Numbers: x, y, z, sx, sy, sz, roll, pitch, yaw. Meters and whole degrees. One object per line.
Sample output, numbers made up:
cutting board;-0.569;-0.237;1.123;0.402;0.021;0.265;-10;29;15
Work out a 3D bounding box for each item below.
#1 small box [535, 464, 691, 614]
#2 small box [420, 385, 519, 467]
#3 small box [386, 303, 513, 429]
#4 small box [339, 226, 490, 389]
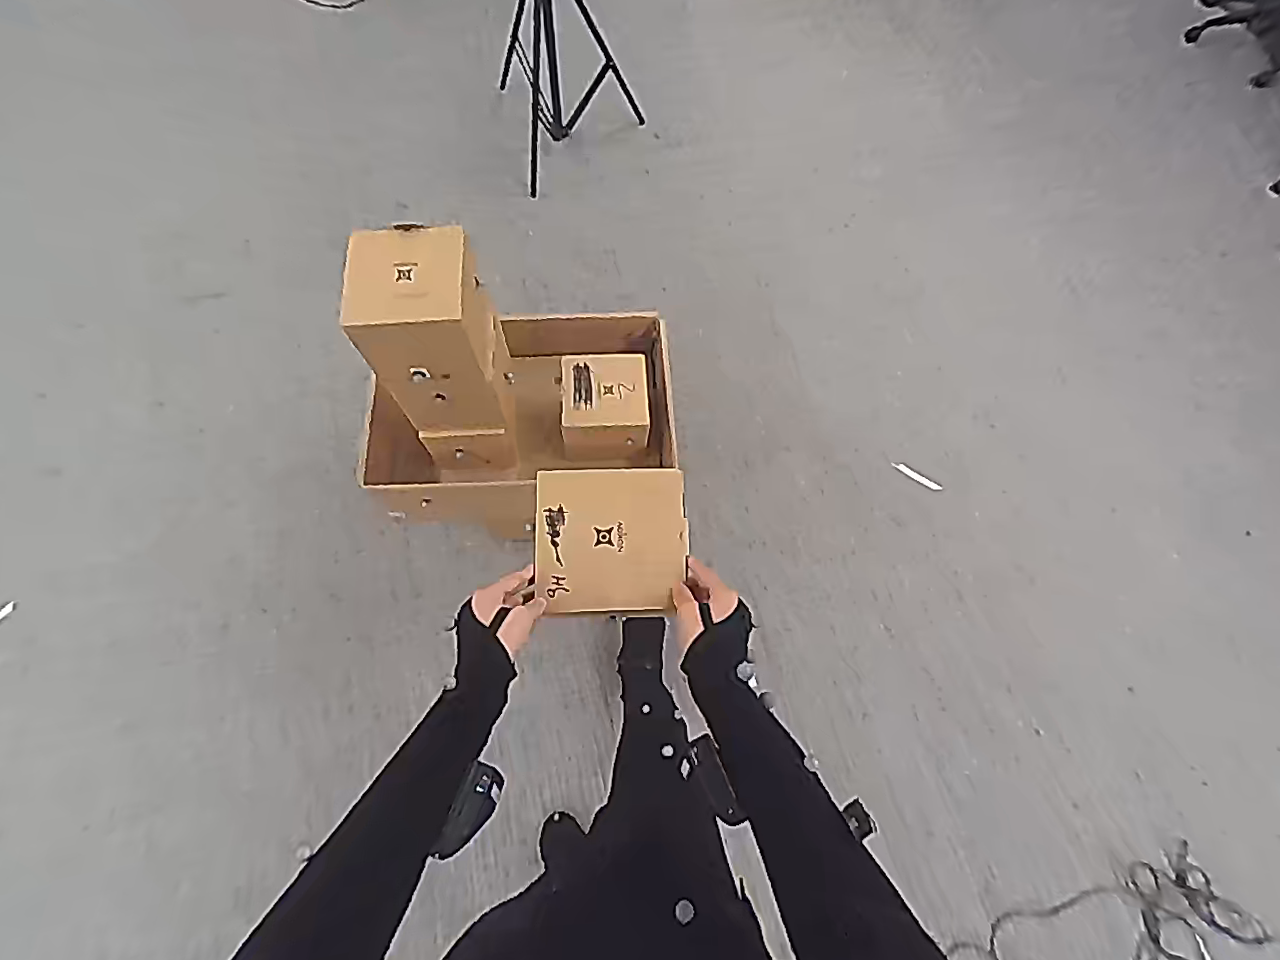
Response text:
small box;-0.037;0.083;0.694;0.179;0.176;0.168;0;73;-5
small box;-0.349;-0.134;1.137;0.168;0.176;0.179;-3;68;-5
small box;-0.337;-0.202;0.988;0.179;0.176;0.168;-2;68;-5
small box;-0.333;-0.261;0.835;0.168;0.176;0.179;-5;68;-4
